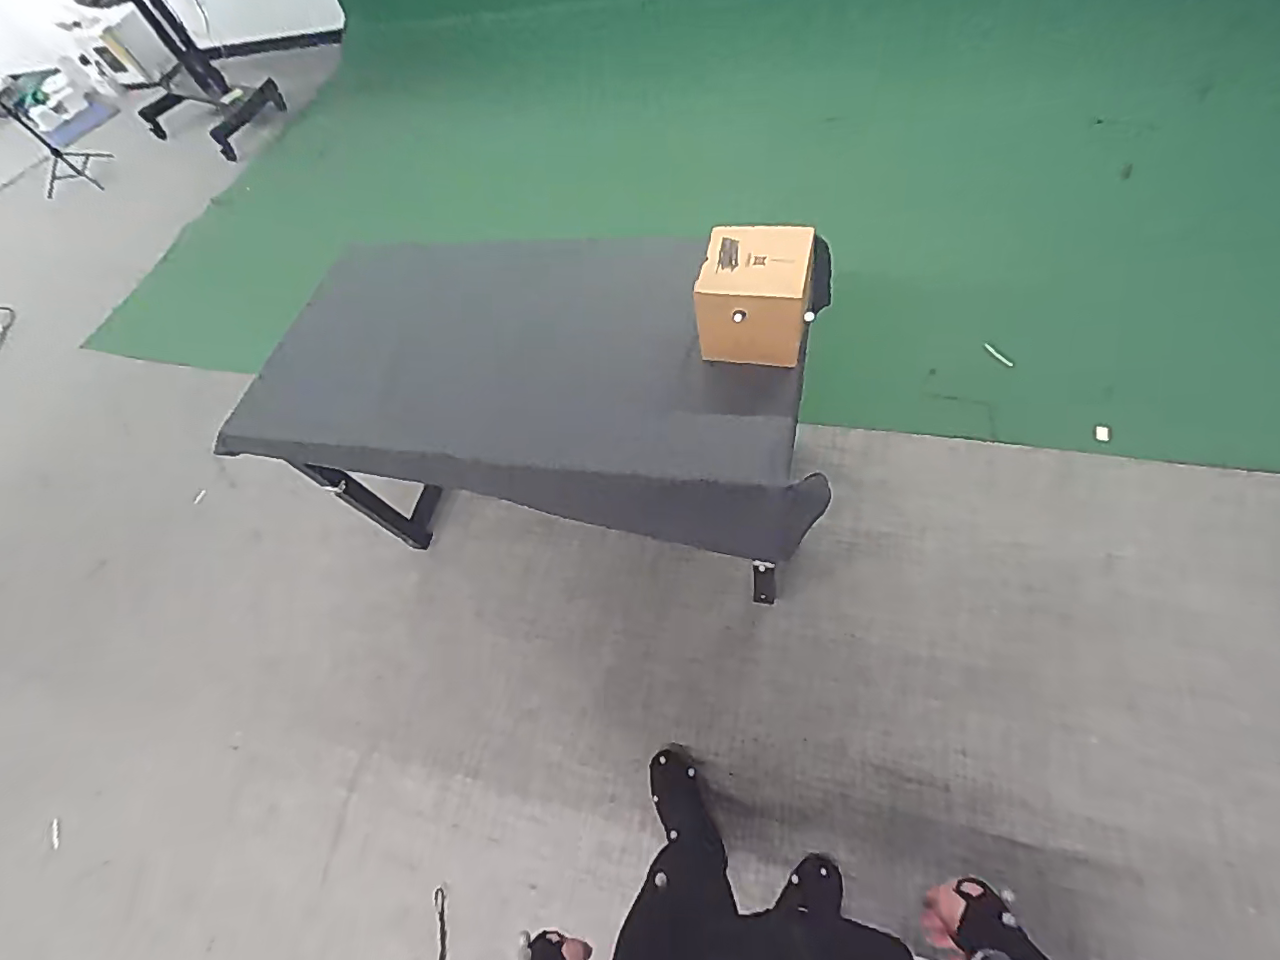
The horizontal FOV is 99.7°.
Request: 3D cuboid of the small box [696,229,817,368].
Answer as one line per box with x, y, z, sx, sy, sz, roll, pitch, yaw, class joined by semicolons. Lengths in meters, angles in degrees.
0.206;-0.320;0.965;0.179;0.176;0.168;10;62;14;small box
